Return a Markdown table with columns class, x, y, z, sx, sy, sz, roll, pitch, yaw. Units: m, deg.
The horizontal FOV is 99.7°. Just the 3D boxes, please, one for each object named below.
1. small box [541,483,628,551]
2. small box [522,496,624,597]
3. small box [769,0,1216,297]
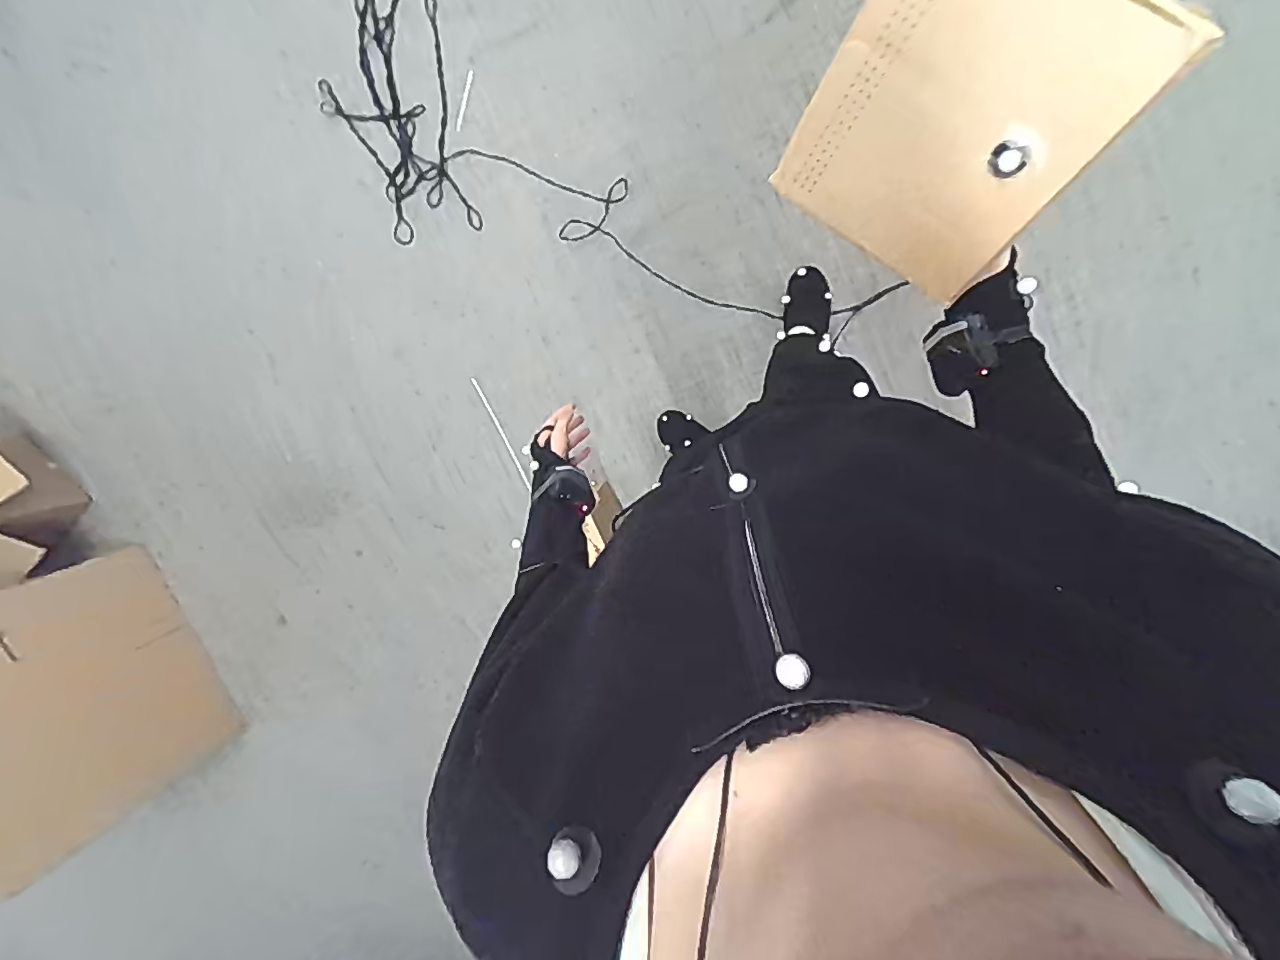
| class | x | y | z | sx | sy | sz | roll | pitch | yaw |
| --- | --- | --- | --- | --- | --- | --- | --- | --- | --- |
| small box | -0.144 | 0.118 | 1.463 | 0.168 | 0.176 | 0.179 | -22 | 99 | 9 |
| small box | -0.154 | 0.155 | 1.304 | 0.179 | 0.176 | 0.168 | -20 | 99 | 9 |
| small box | 0.220 | -0.272 | 0.381 | 0.176 | 0.168 | 0.179 | 35 | 141 | 4 |
